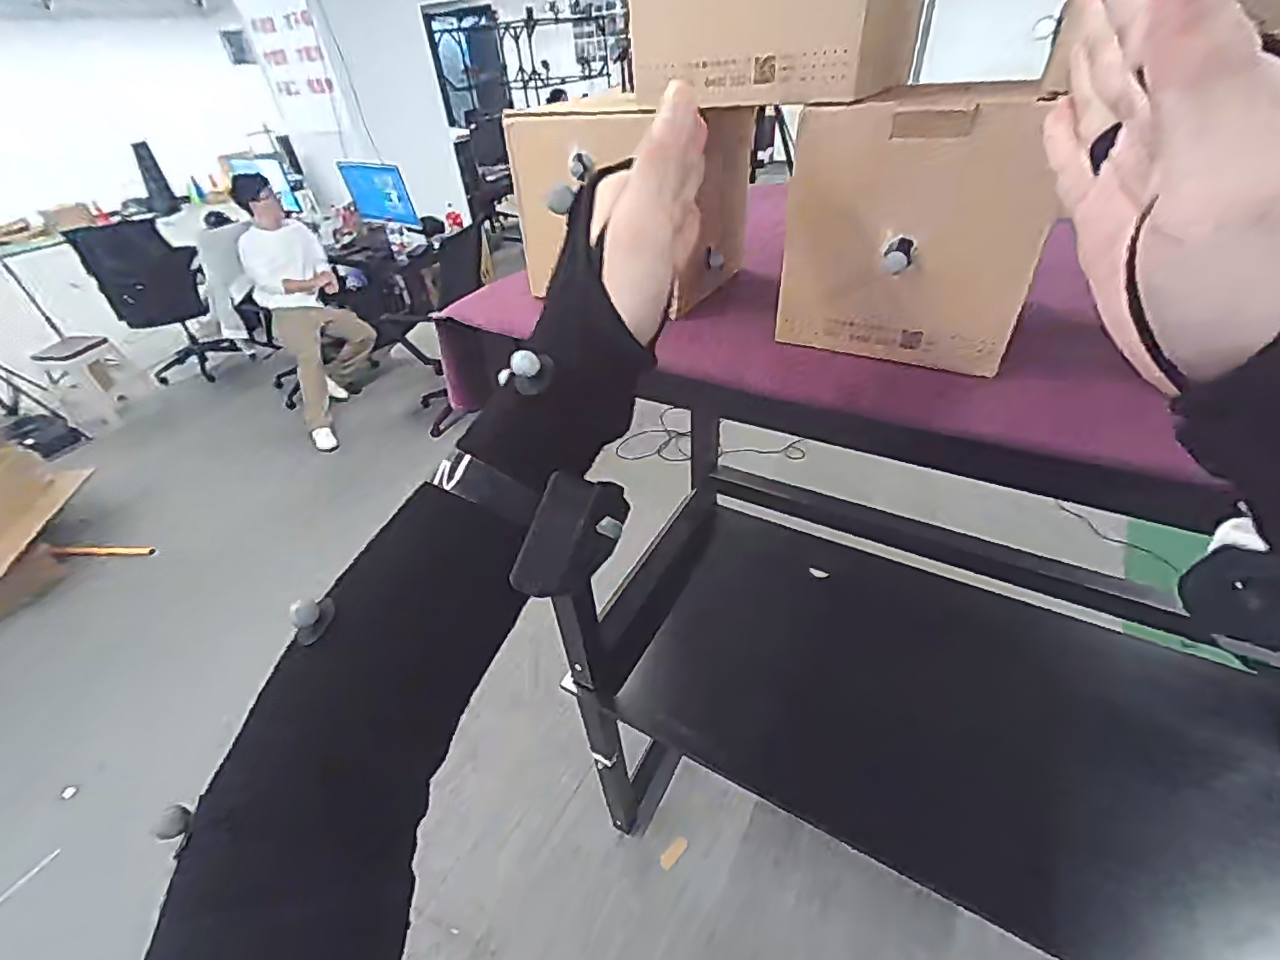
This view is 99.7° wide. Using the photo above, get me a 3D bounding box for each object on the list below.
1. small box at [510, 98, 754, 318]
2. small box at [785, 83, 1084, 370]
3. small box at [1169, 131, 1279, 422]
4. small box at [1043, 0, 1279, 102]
[{"bbox_3d":[-0.001,-0.277,0.549,0.179,0.176,0.168,18,43,25],"label":"small box"},{"bbox_3d":[0.224,-0.206,0.436,0.168,0.176,0.179,18,43,26],"label":"small box"},{"bbox_3d":[0.465,-0.128,0.311,0.179,0.176,0.168,17,42,28],"label":"small box"},{"bbox_3d":[0.336,-0.299,0.277,0.179,0.176,0.168,17,42,24],"label":"small box"}]
